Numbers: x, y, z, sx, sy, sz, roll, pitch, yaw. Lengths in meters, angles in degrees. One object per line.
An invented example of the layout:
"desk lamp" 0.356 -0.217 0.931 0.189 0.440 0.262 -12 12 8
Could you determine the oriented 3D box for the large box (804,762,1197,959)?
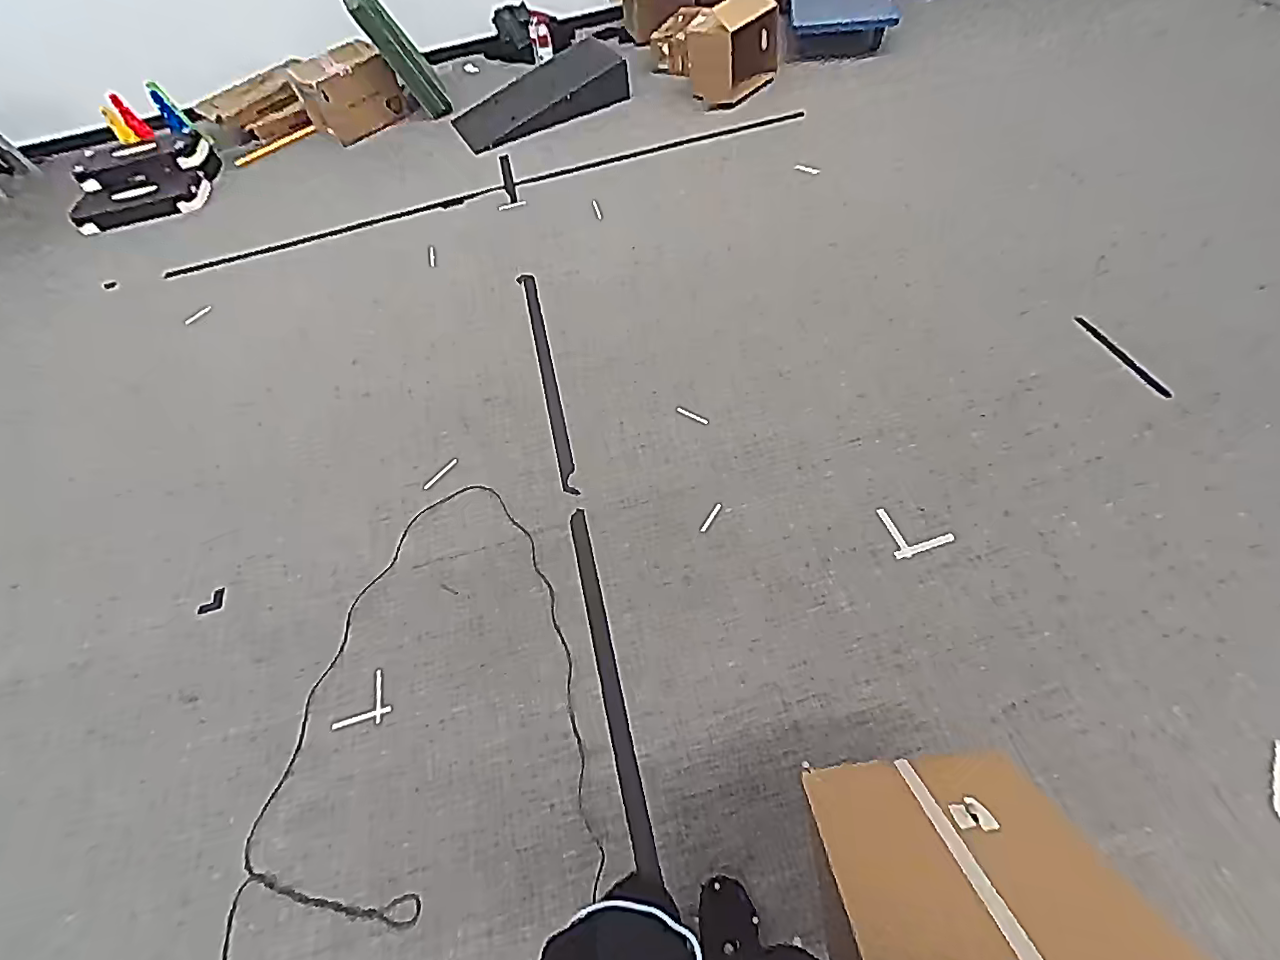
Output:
"large box" 0.427 0.630 0.677 0.320 0.408 0.320 -8 94 5
